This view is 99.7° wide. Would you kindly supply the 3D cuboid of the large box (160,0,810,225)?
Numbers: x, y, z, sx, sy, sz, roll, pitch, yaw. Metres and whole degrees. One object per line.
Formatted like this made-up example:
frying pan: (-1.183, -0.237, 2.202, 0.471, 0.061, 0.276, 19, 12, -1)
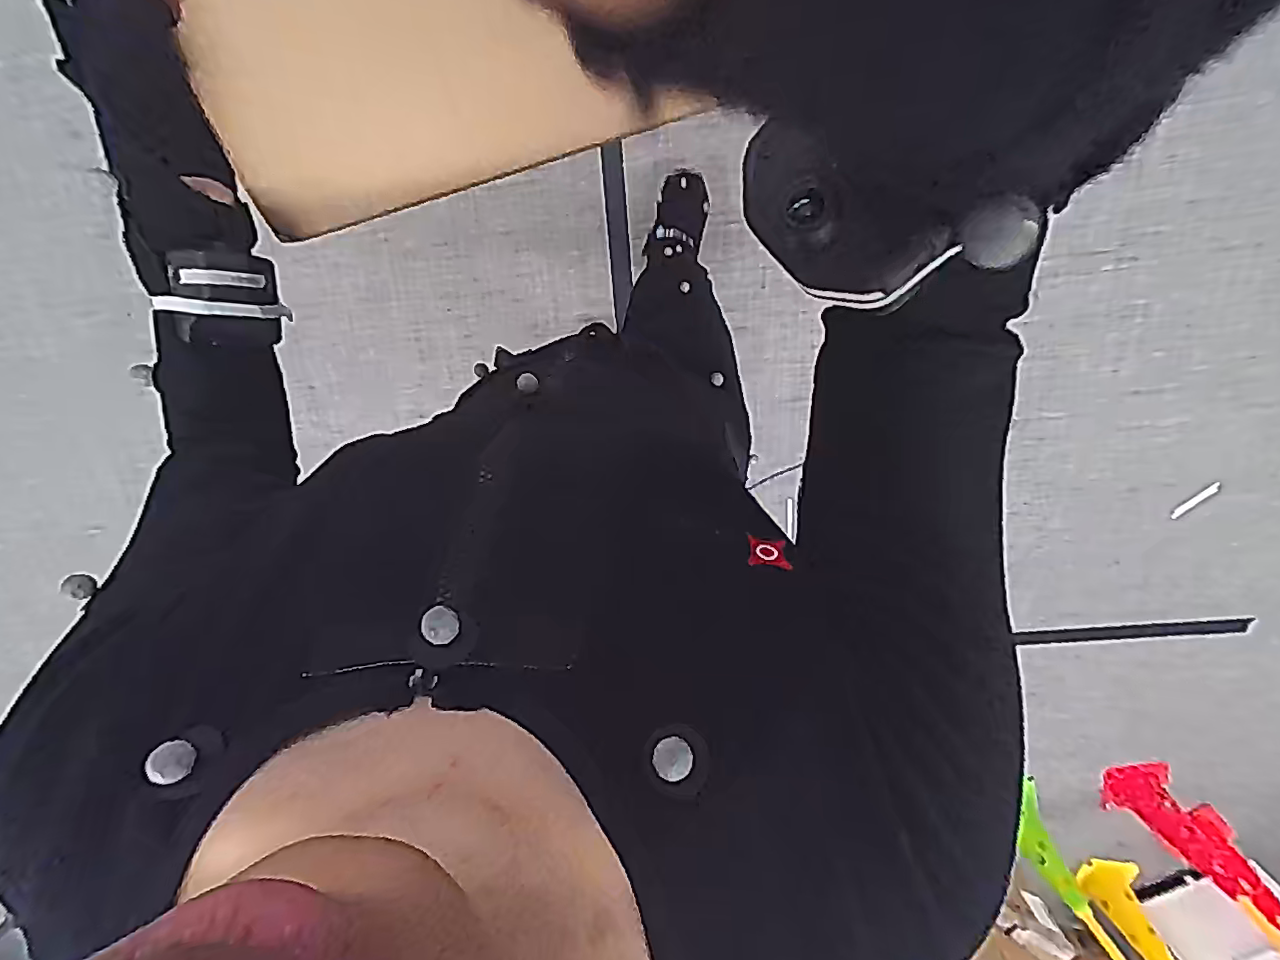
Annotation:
large box: (-0.127, -0.445, 0.436, 0.408, 0.320, 0.320, -16, 123, 5)
